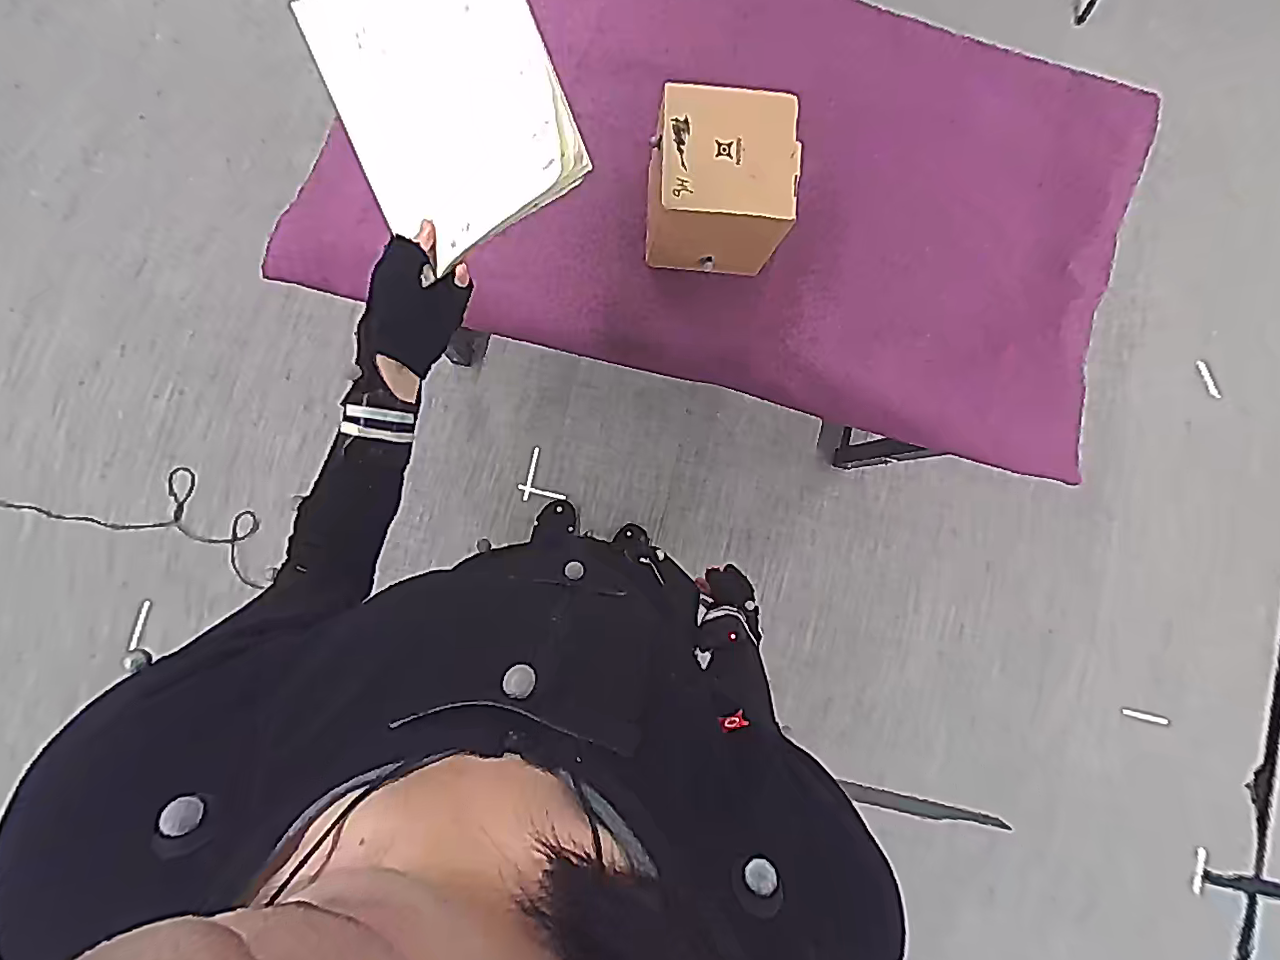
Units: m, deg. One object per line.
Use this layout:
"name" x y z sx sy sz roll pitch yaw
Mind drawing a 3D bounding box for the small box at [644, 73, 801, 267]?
"small box" 0.106 -0.414 0.752 0.179 0.176 0.168 3 86 -6
